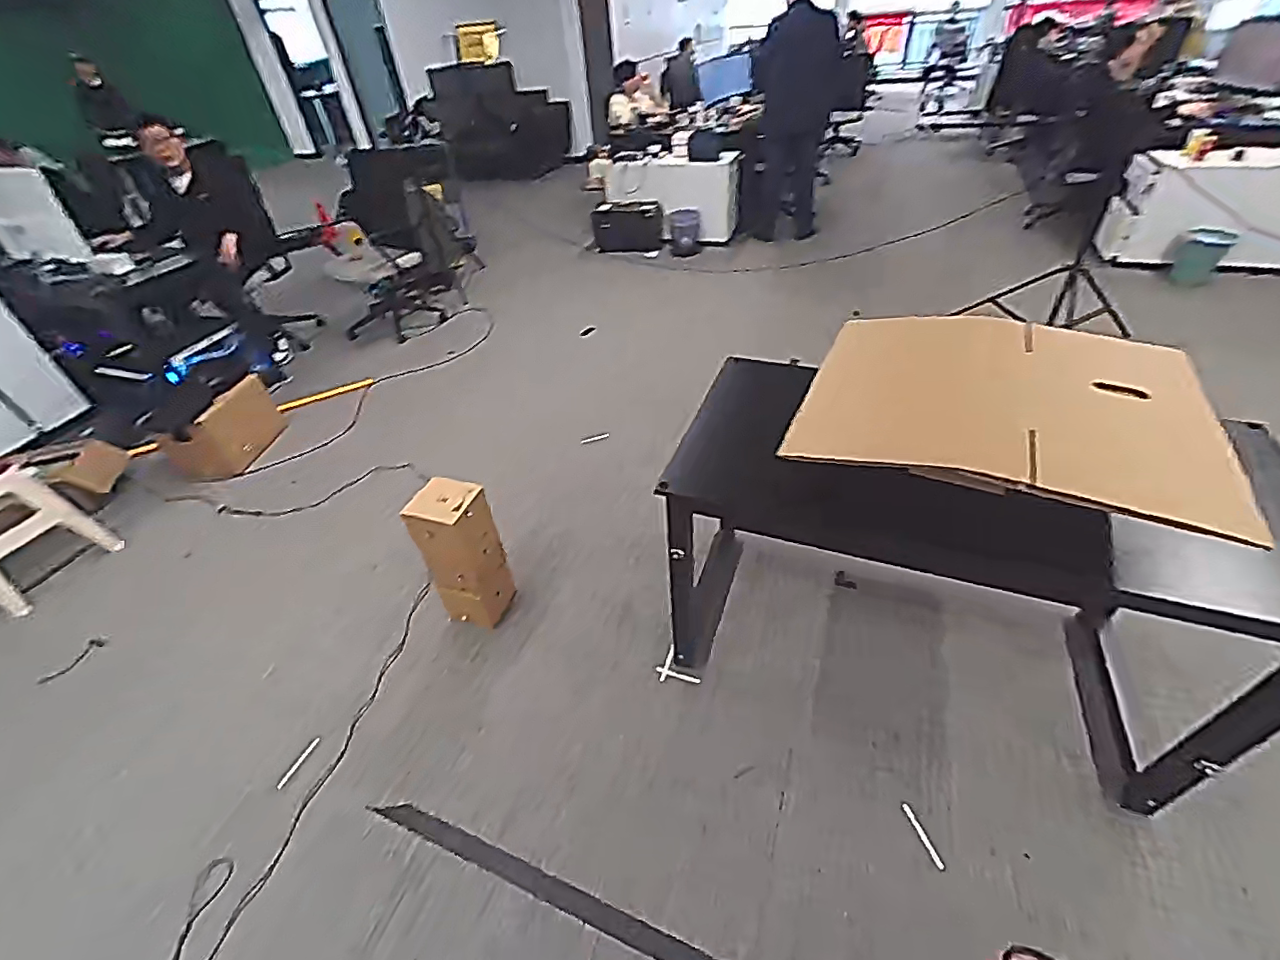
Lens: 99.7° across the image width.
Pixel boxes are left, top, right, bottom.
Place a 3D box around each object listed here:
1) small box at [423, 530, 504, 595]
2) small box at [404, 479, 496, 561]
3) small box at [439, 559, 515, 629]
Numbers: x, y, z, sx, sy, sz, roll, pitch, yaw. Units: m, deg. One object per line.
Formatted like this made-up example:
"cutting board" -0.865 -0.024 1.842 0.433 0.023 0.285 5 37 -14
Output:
"small box" -0.550 0.242 1.719 0.168 0.176 0.179 8 41 12
"small box" -0.558 0.121 1.609 0.179 0.176 0.168 9 43 16
"small box" -0.538 0.369 1.820 0.168 0.176 0.179 9 44 16
